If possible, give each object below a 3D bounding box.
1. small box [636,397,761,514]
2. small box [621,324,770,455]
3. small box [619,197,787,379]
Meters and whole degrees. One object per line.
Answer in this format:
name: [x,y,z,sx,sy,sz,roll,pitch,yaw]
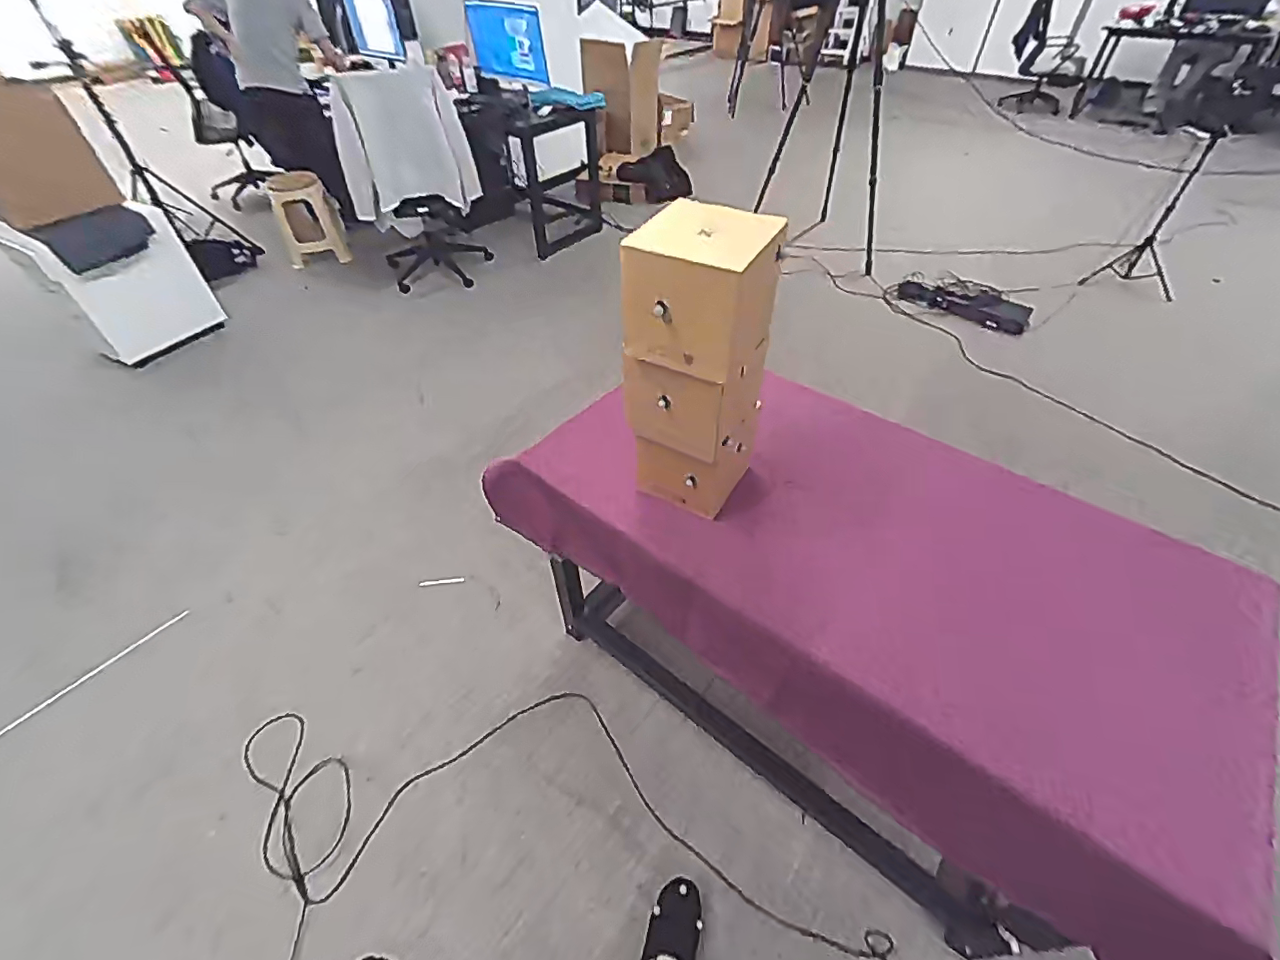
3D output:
small box: [0.107,-0.067,1.012,0.168,0.176,0.179,25,51,22]
small box: [0.088,-0.166,0.881,0.179,0.176,0.168,25,52,22]
small box: [0.086,-0.267,0.753,0.168,0.176,0.179,22,50,20]
